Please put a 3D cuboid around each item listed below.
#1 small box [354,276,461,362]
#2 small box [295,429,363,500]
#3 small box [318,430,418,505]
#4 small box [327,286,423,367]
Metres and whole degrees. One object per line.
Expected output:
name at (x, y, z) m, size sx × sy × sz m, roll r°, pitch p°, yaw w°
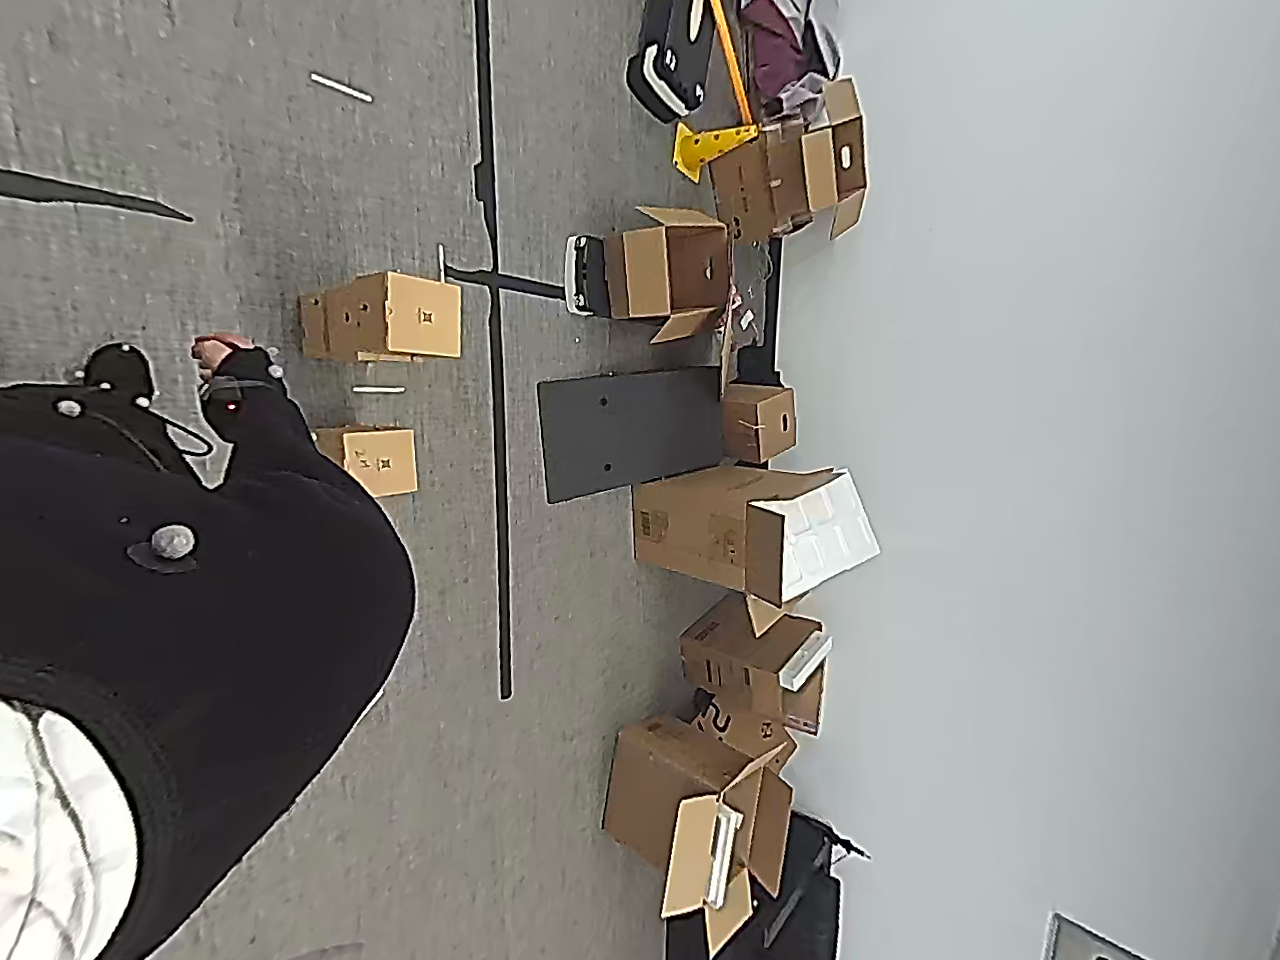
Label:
small box at (-0.539, -0.367, 1.256) m, size 0.179 × 0.176 × 0.168 m, roll -7°, pitch 104°, yaw -48°
small box at (-0.825, -0.049, 1.497) m, size 0.179 × 0.176 × 0.168 m, roll -13°, pitch 106°, yaw -47°
small box at (-0.699, -0.040, 1.391) m, size 0.179 × 0.176 × 0.168 m, roll -11°, pitch 105°, yaw -48°
small box at (-0.666, -0.378, 1.357) m, size 0.168 × 0.176 × 0.179 m, roll -10°, pitch 106°, yaw -48°
